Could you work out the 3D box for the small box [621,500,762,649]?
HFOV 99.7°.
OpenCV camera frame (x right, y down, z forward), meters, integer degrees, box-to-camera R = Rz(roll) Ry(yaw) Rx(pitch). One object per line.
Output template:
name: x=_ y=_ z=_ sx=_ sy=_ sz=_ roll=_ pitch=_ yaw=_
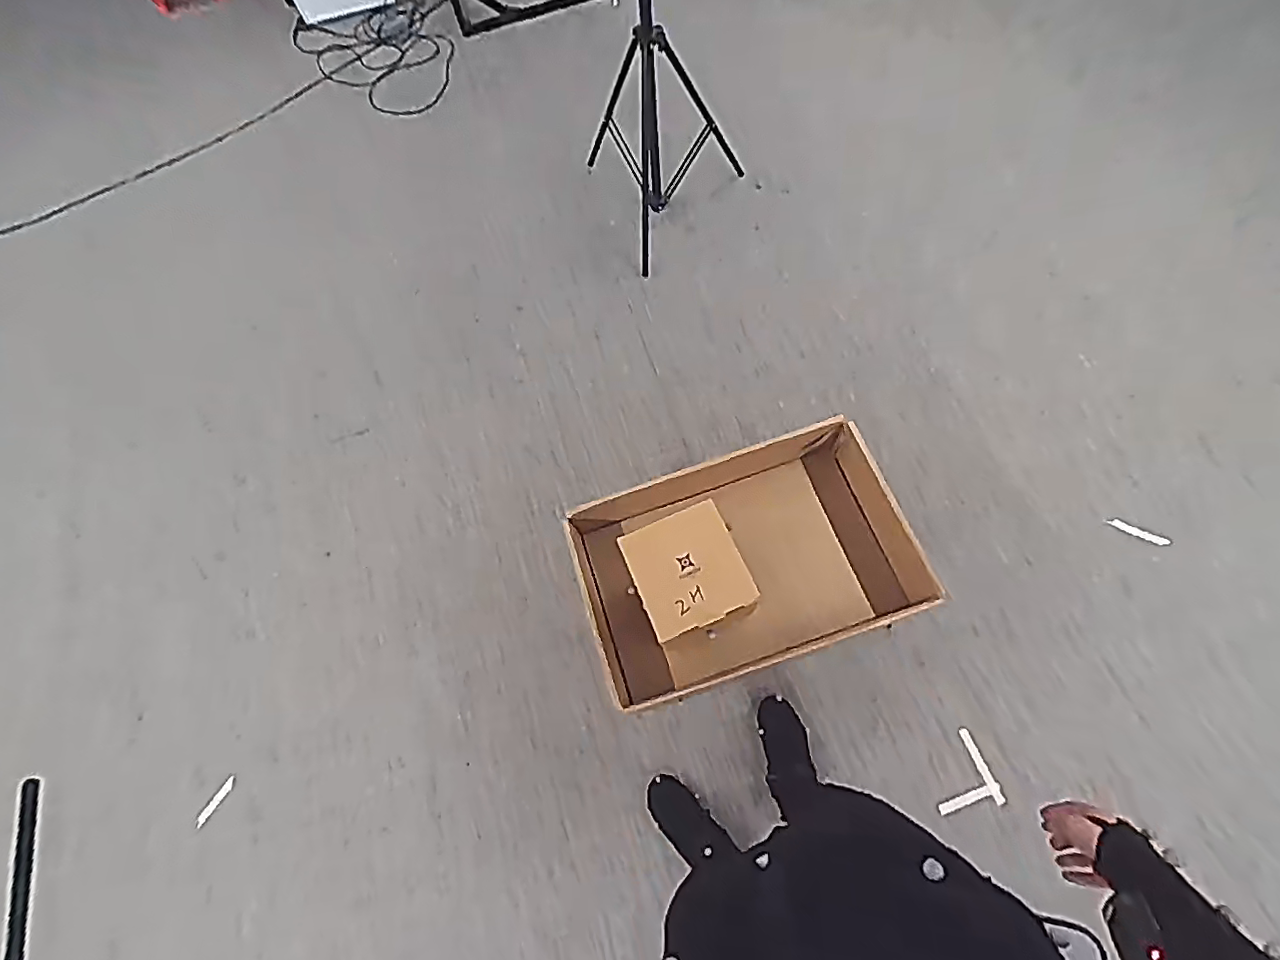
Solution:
small box: x=0.080 y=0.162 z=0.891 sx=0.168 sy=0.176 sz=0.179 roll=-23 pitch=69 yaw=-3
